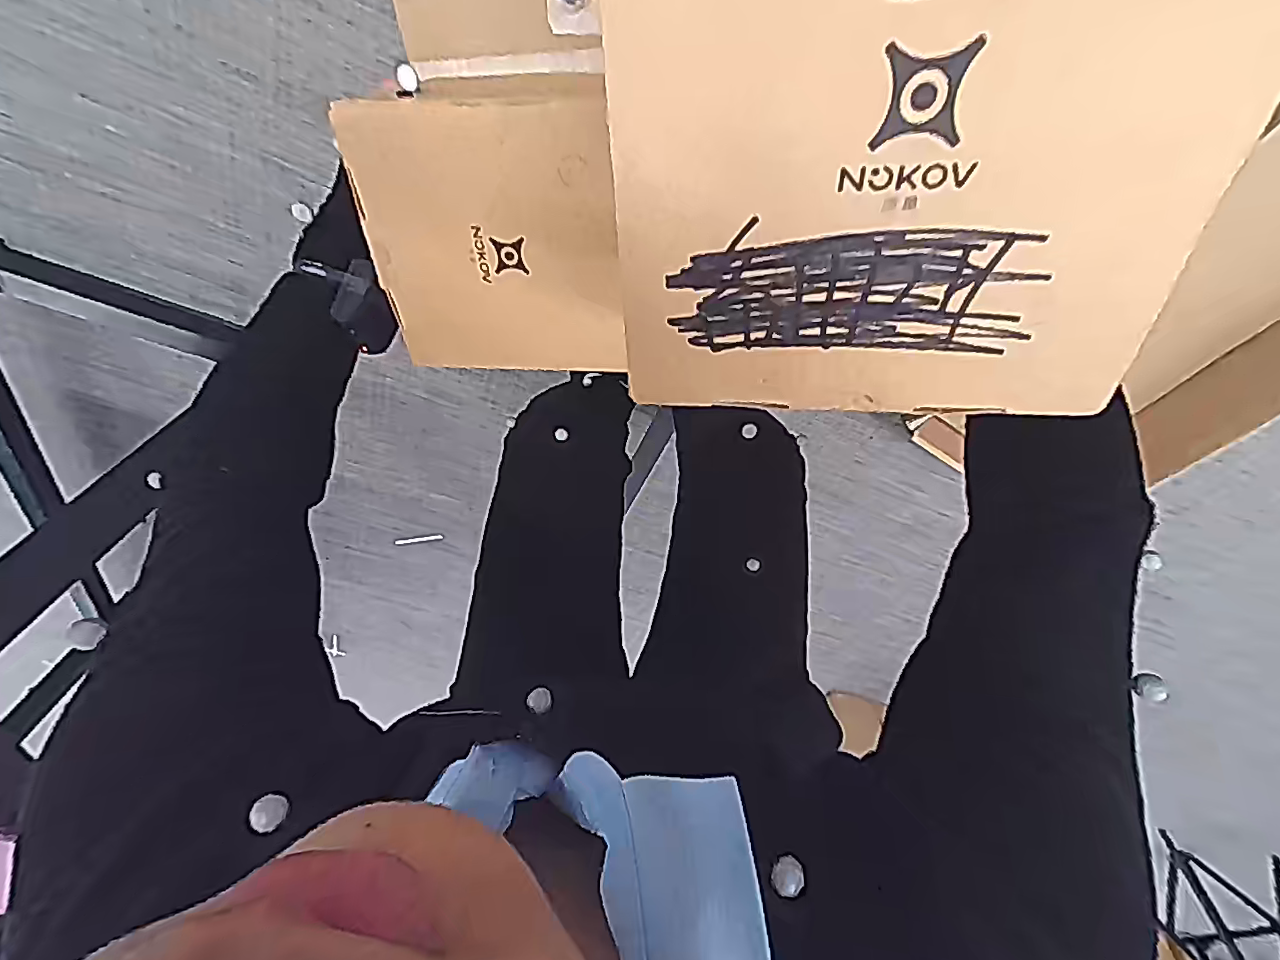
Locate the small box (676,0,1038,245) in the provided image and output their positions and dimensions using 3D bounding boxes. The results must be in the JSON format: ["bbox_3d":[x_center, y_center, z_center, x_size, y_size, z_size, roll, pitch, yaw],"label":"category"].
[{"bbox_3d":[0.108,-0.257,0.325,0.168,0.176,0.179,2,130,9],"label":"small box"}]

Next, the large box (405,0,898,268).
[{"bbox_3d":[0.041,-0.418,0.523,0.408,0.320,0.320,2,129,8],"label":"large box"}]
